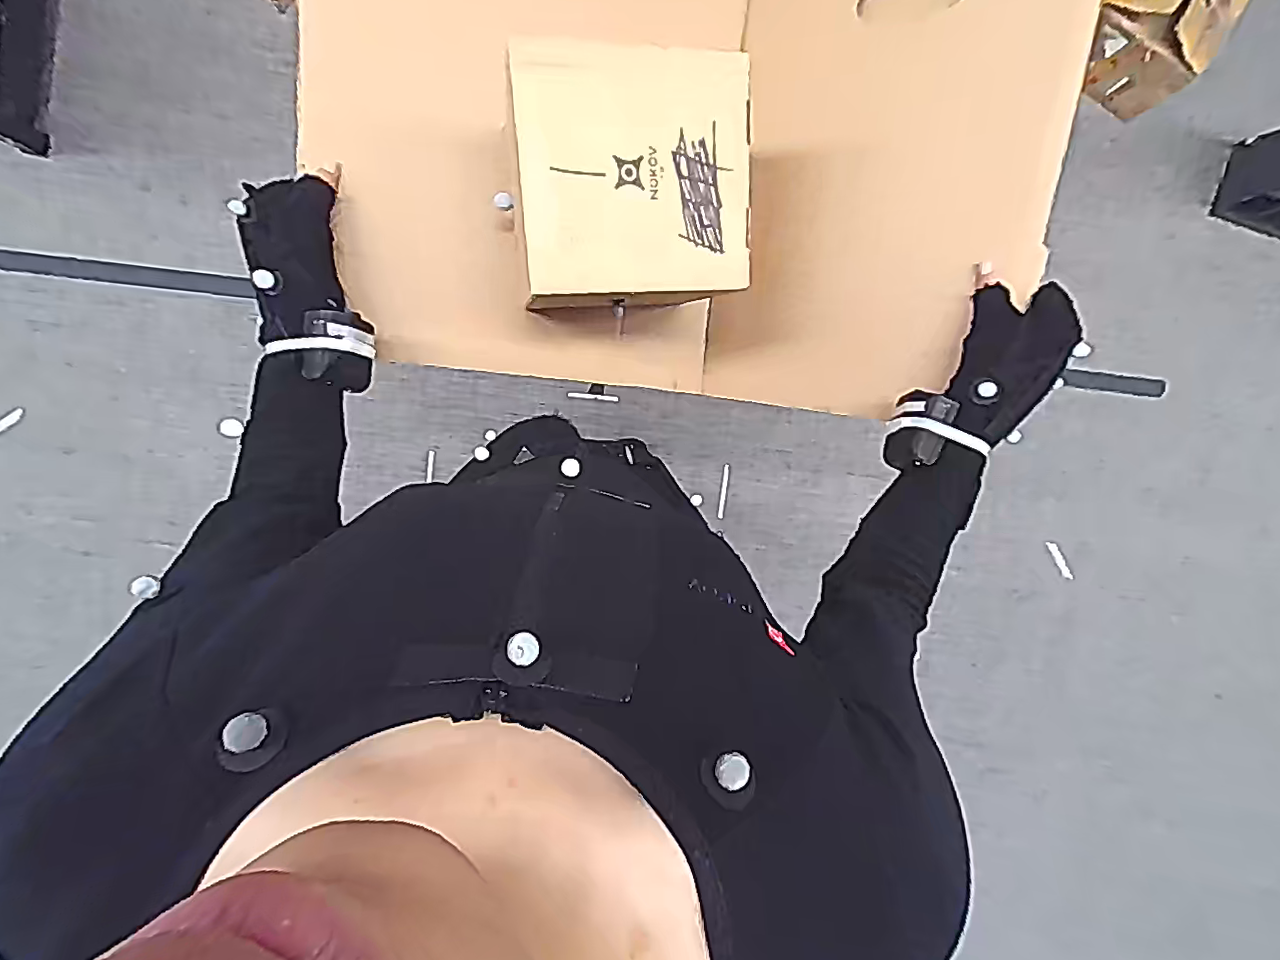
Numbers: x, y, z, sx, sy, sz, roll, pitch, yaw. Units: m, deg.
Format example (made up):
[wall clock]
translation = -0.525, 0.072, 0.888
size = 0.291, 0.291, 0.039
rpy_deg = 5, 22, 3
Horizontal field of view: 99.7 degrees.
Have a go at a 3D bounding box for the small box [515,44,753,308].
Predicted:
[small box]
translation = -0.016, -0.245, 0.482
size = 0.179, 0.176, 0.168
rpy_deg = -5, 105, -12
